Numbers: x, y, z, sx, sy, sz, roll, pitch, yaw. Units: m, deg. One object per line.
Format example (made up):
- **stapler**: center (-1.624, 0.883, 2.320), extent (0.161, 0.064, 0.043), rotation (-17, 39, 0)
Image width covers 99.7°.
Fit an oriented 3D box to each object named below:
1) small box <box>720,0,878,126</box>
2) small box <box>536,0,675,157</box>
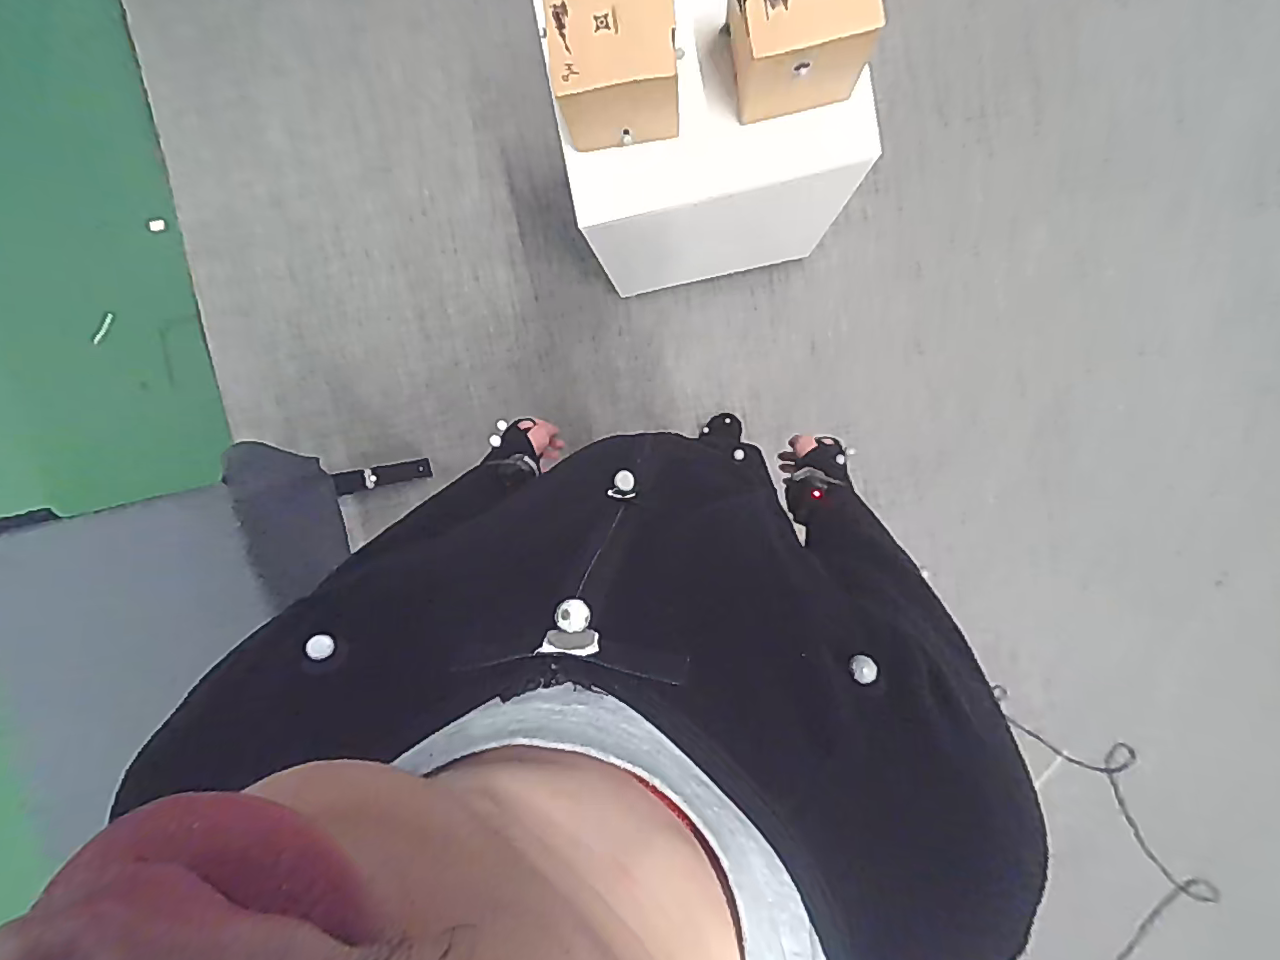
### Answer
- **small box**: center (0.216, -0.653, 0.784), extent (0.179, 0.176, 0.168), rotation (-11, 95, 4)
- **small box**: center (-0.046, -0.614, 0.802), extent (0.179, 0.176, 0.168), rotation (-7, 95, 3)
